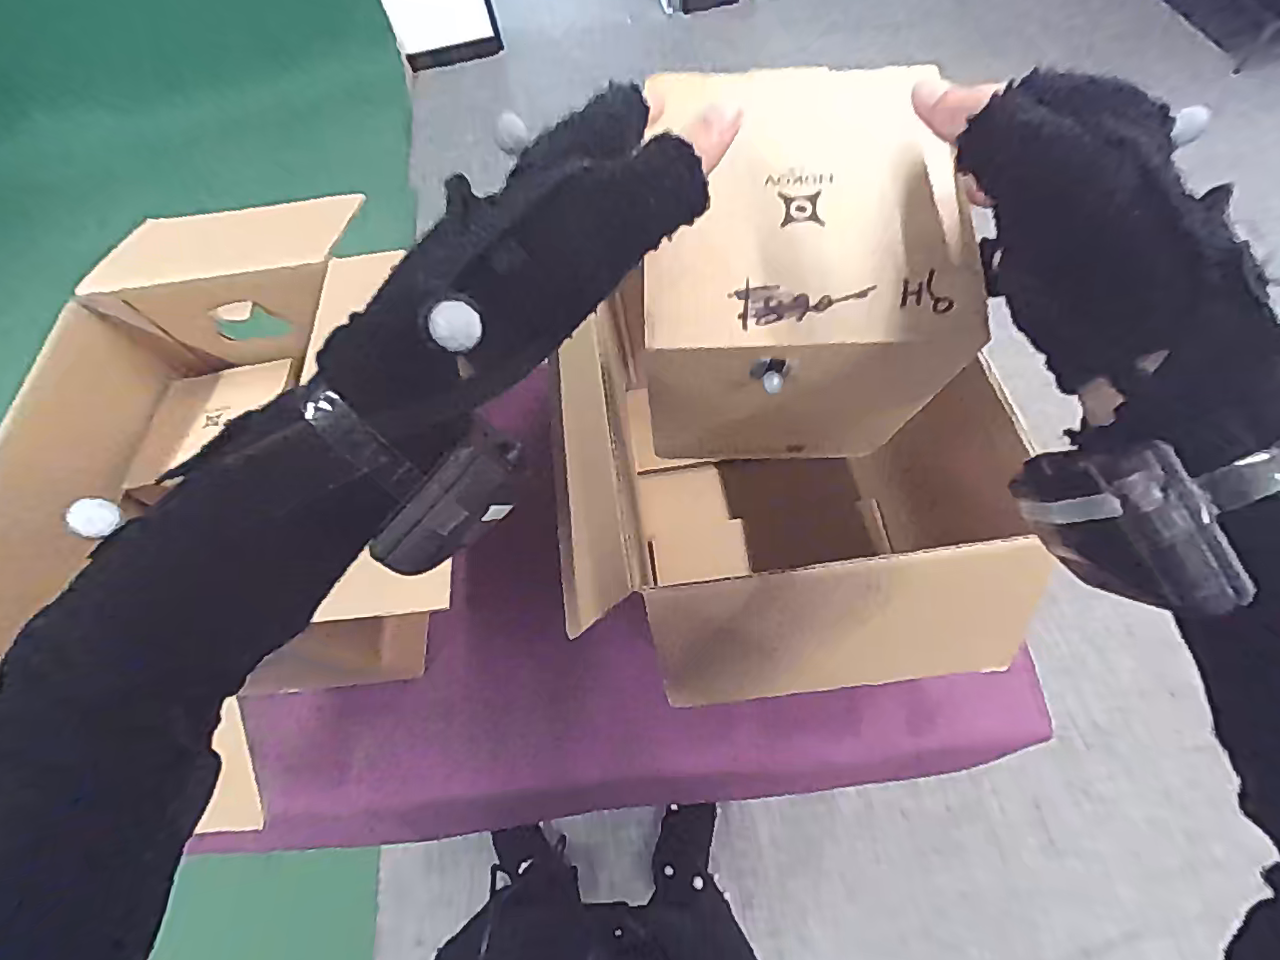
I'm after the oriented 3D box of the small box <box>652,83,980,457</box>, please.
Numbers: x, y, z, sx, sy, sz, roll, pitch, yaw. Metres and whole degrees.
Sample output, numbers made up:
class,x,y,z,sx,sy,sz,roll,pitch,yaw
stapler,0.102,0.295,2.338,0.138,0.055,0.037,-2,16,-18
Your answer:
class,x,y,z,sx,sy,sz,roll,pitch,yaw
small box,0.094,-0.126,0.373,0.168,0.176,0.179,-1,73,5
